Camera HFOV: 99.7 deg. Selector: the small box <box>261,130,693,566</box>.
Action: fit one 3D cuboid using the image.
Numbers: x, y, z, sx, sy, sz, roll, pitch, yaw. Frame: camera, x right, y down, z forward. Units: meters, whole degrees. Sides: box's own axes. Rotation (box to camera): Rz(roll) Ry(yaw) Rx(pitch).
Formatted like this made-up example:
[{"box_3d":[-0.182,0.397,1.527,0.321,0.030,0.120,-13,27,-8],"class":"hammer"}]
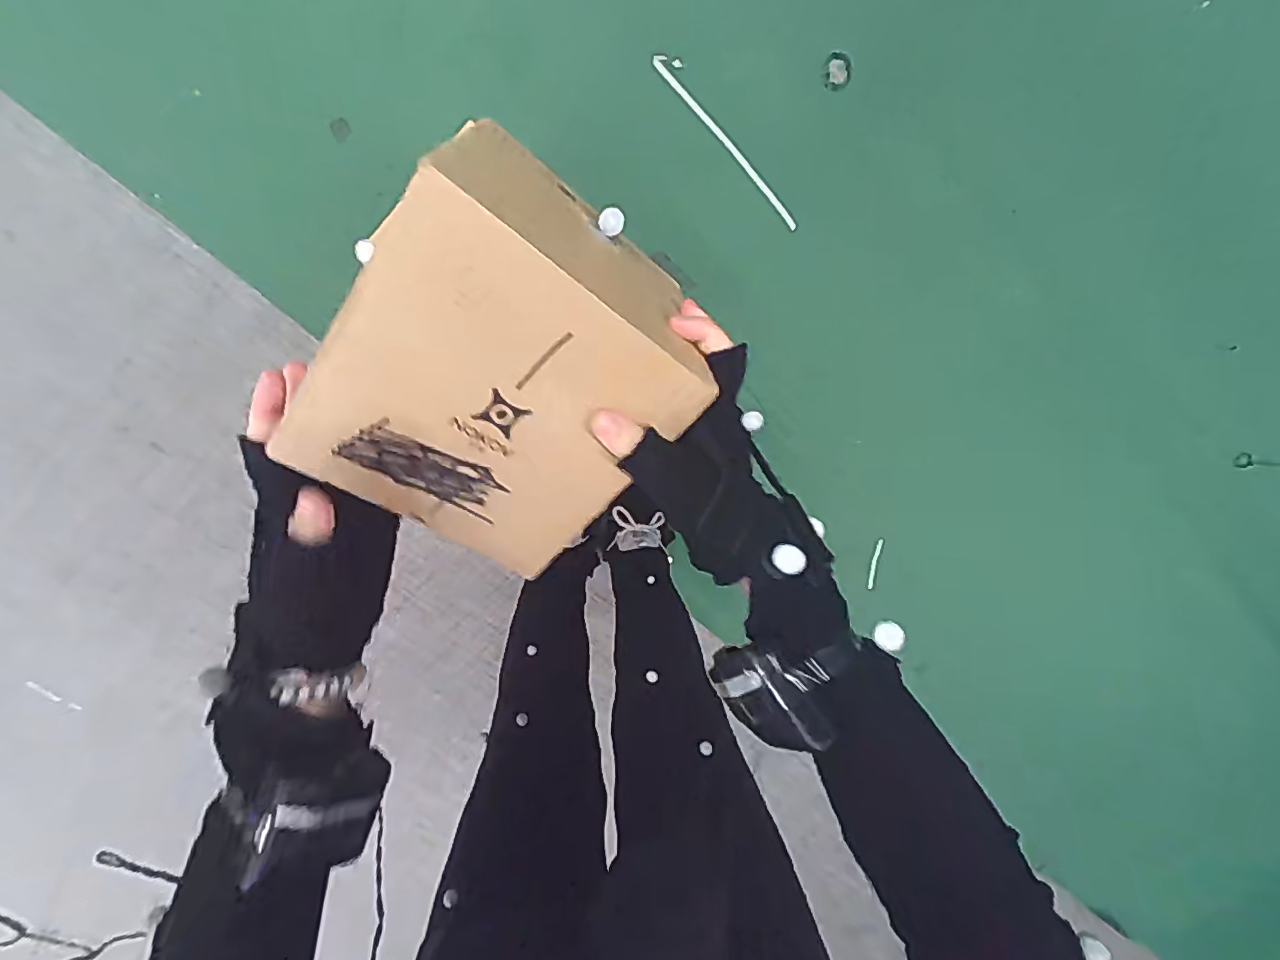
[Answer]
[{"box_3d":[-0.089,-0.084,0.347,0.168,0.176,0.179,33,118,-27],"class":"small box"}]
